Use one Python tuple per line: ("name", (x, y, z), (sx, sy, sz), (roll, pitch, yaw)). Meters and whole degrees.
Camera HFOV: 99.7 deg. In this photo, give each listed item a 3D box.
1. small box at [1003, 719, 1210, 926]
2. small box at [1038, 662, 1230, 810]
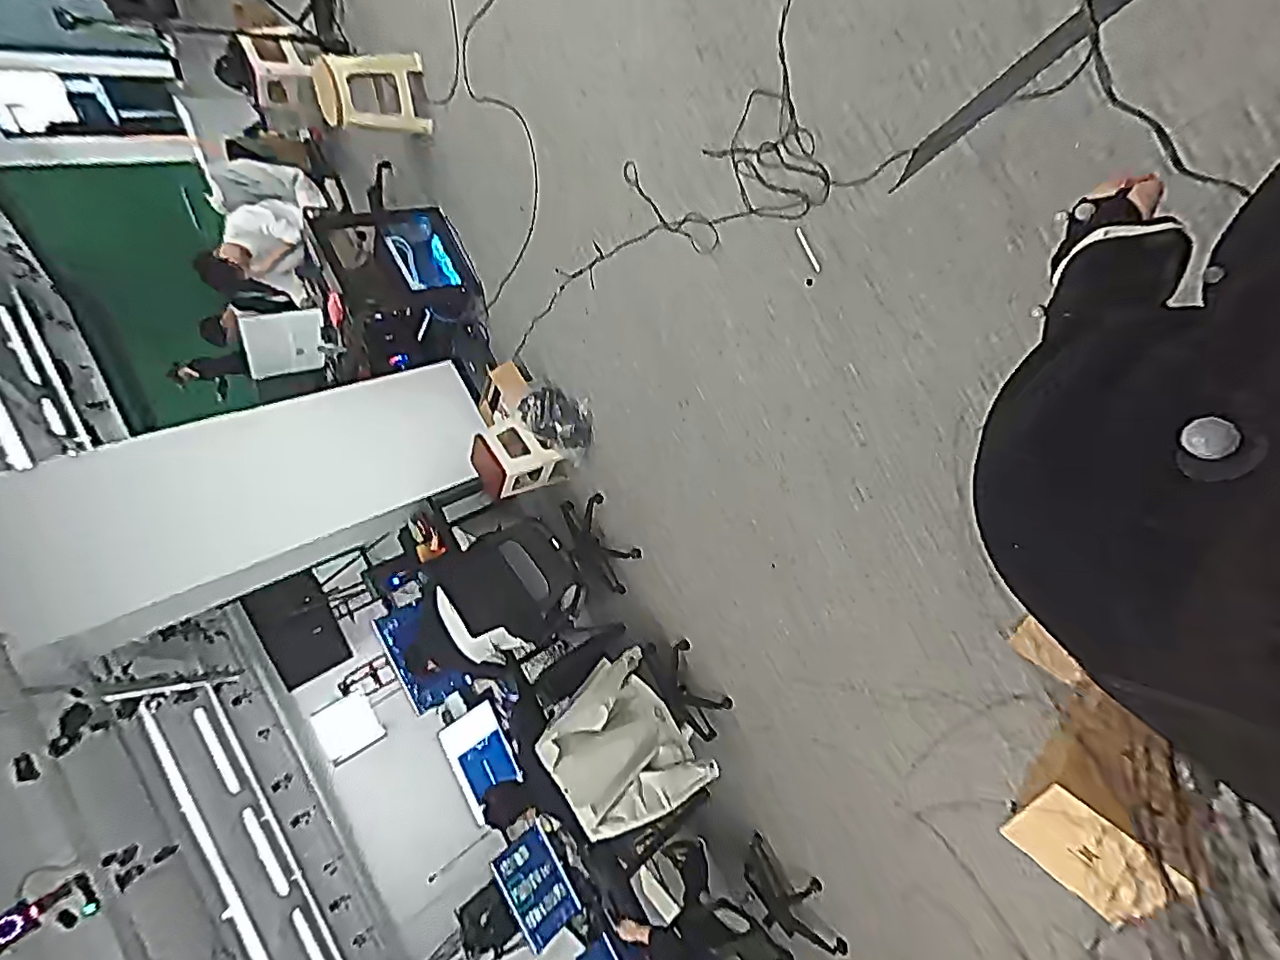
("small box", (0.697, 0.503, 0.812), (0.168, 0.176, 0.179), (36, 138, 35))
("small box", (0.822, 0.447, 0.902), (0.168, 0.176, 0.179), (37, 138, 34))
